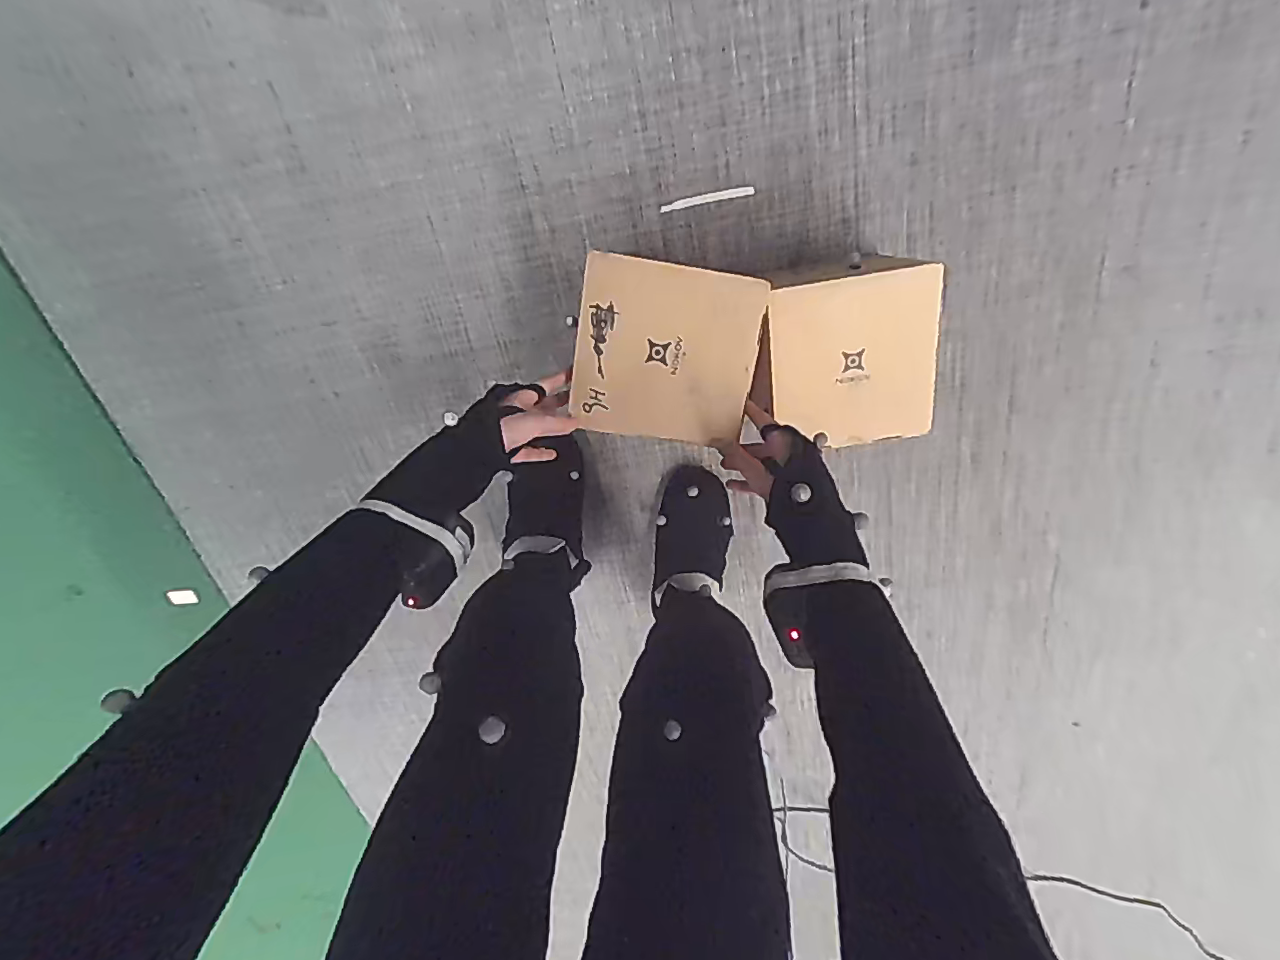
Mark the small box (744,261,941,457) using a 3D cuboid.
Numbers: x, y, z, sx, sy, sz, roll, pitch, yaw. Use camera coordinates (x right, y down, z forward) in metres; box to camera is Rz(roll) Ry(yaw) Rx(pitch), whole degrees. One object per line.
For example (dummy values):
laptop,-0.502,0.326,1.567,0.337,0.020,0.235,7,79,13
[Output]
small box,0.217,-0.147,0.620,0.168,0.176,0.179,-8,116,6
